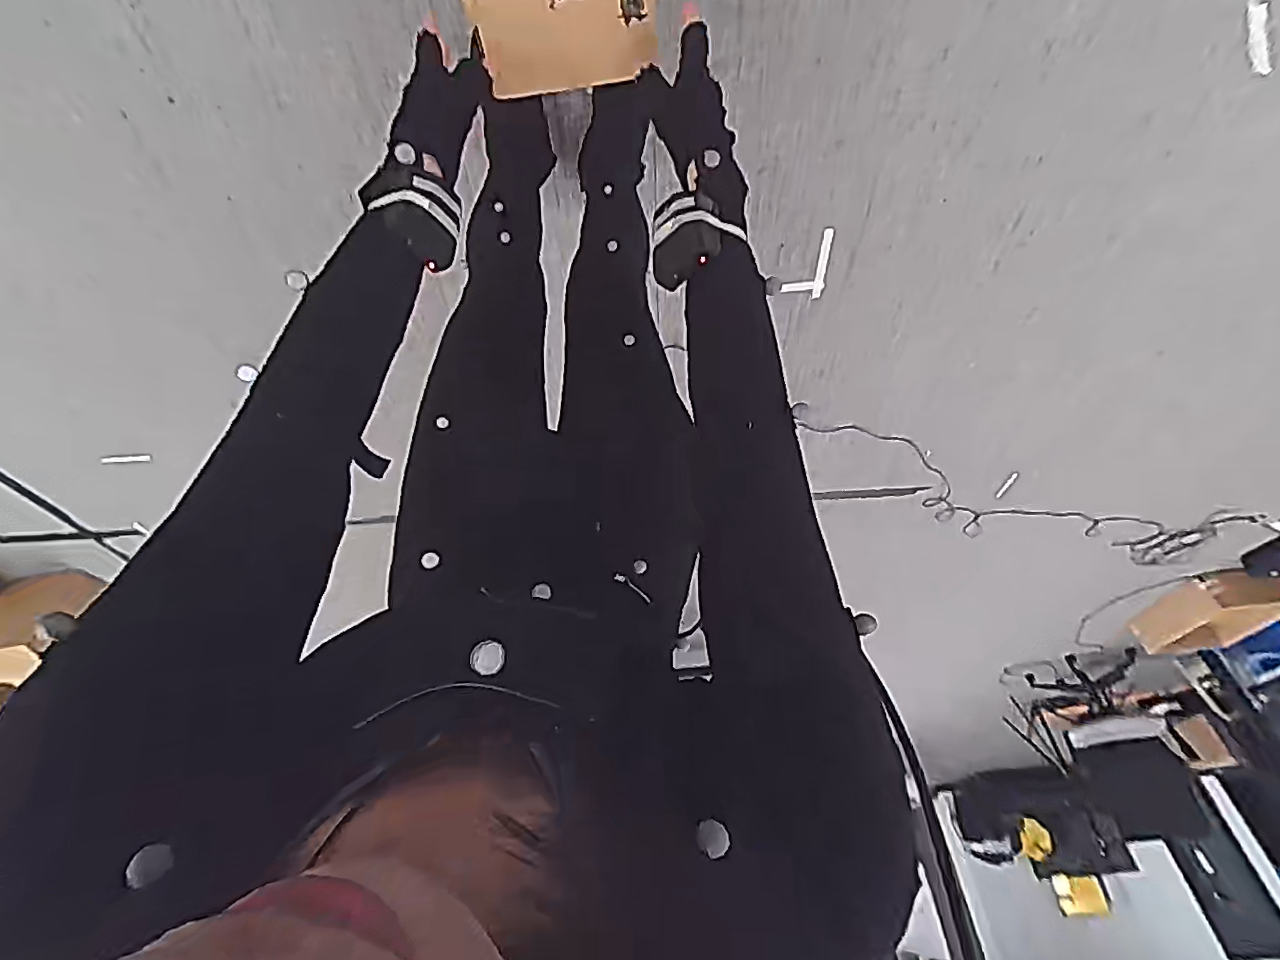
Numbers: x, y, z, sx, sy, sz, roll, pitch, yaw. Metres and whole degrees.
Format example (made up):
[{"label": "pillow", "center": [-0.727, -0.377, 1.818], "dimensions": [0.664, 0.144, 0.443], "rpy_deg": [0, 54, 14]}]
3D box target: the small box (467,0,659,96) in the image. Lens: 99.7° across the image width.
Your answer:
[{"label": "small box", "center": [-0.077, -0.512, 0.538], "dimensions": [0.179, 0.176, 0.168], "rpy_deg": [-6, 141, 2]}]
